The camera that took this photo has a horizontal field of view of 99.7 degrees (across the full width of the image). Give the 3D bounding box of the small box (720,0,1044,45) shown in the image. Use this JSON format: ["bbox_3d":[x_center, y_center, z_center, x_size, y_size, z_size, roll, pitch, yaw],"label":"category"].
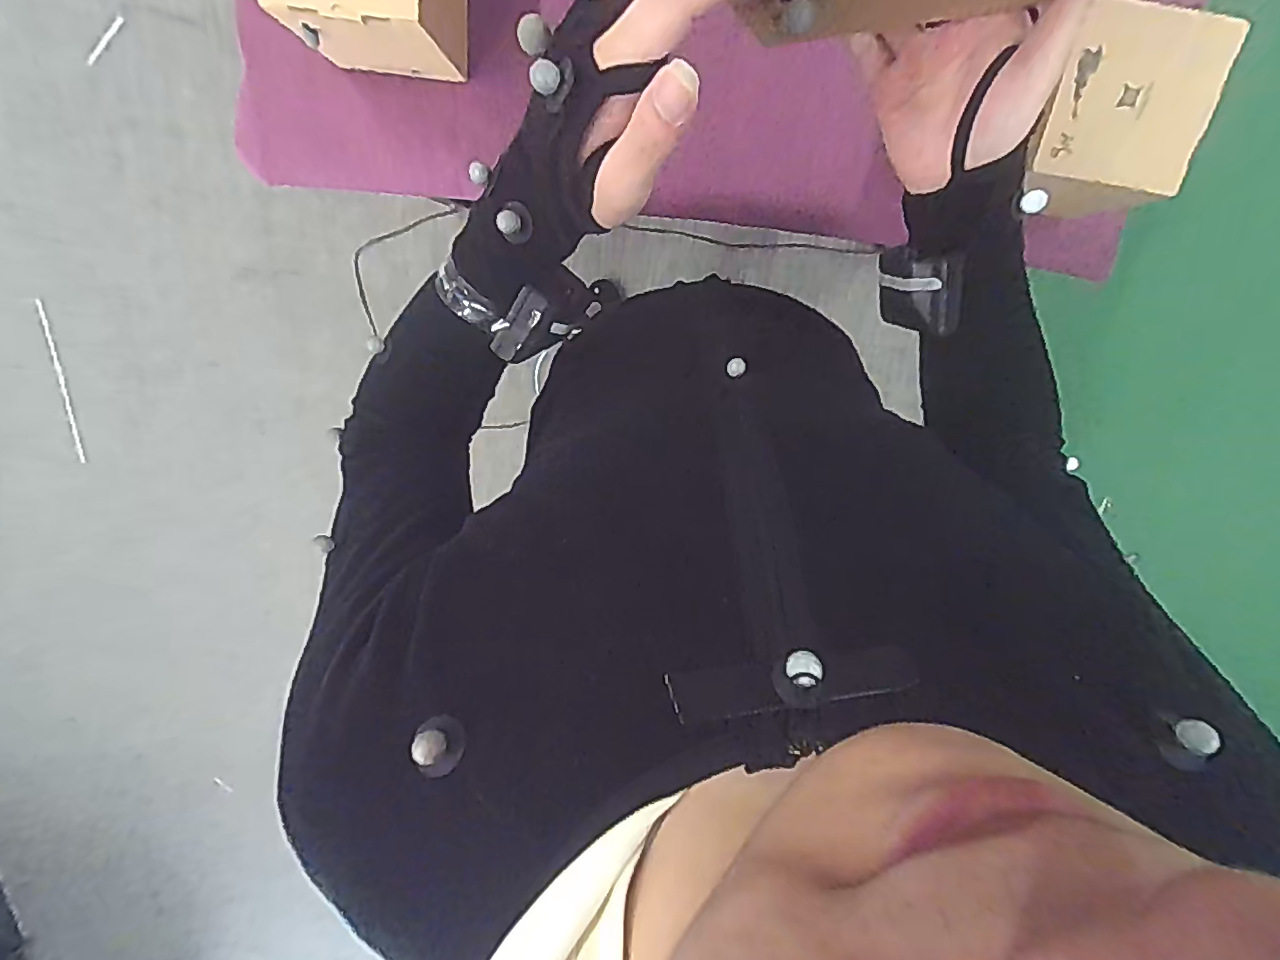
[{"bbox_3d":[0.120,-0.328,0.235,0.176,0.168,0.179,9,118,22],"label":"small box"}]

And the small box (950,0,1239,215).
[{"bbox_3d":[0.527,-0.433,0.659,0.179,0.176,0.168,9,108,-3],"label":"small box"}]
